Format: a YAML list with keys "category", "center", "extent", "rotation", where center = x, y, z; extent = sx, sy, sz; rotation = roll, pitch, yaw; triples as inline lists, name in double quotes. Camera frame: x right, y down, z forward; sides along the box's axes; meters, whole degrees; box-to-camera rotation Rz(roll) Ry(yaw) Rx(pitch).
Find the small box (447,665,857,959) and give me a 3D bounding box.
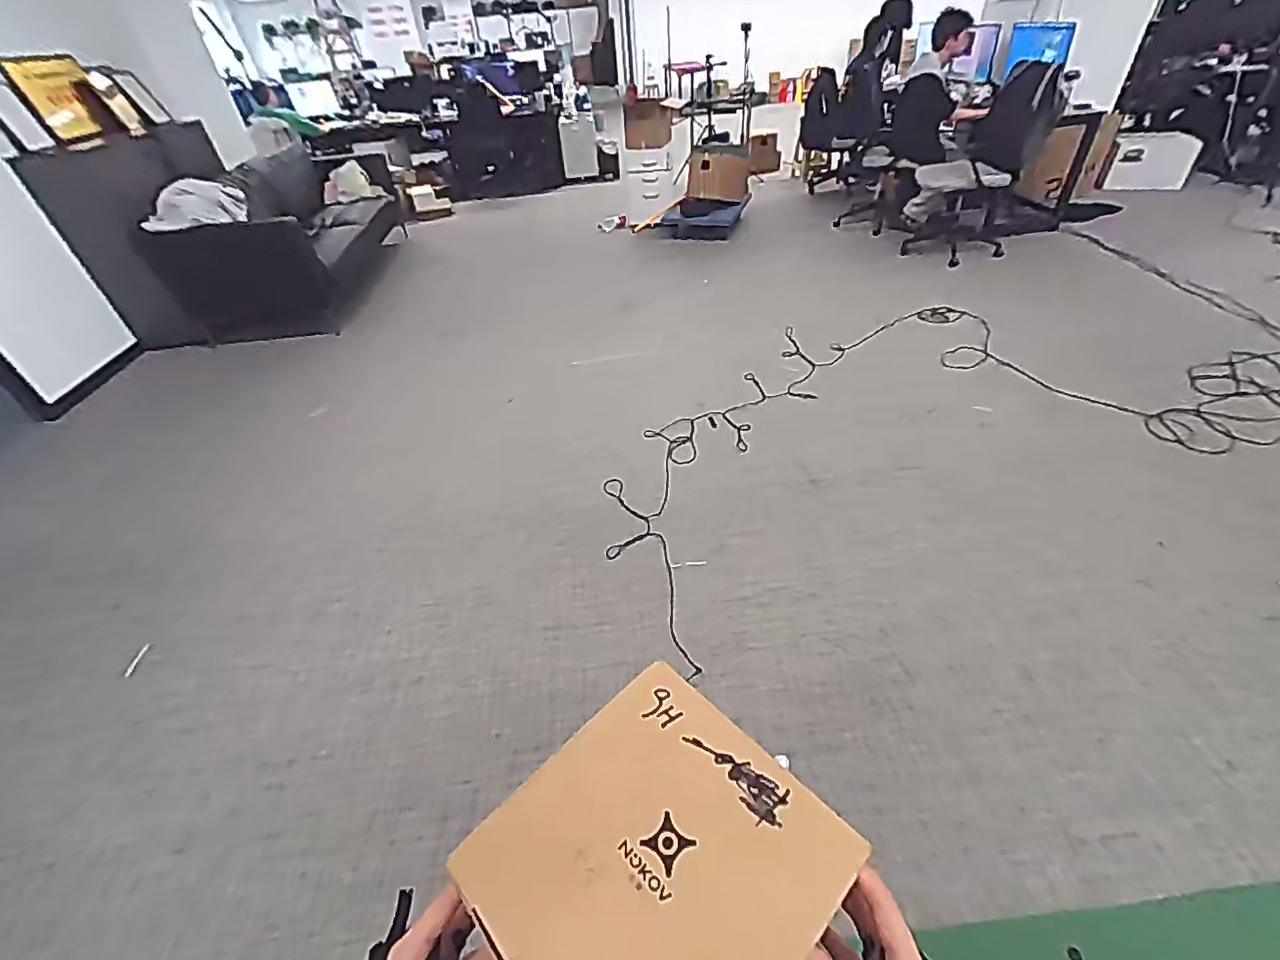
- category: "small box"
  center: [0.012, 0.270, 0.355]
  extent: [0.179, 0.176, 0.168]
  rotation: [-35, 50, -29]
